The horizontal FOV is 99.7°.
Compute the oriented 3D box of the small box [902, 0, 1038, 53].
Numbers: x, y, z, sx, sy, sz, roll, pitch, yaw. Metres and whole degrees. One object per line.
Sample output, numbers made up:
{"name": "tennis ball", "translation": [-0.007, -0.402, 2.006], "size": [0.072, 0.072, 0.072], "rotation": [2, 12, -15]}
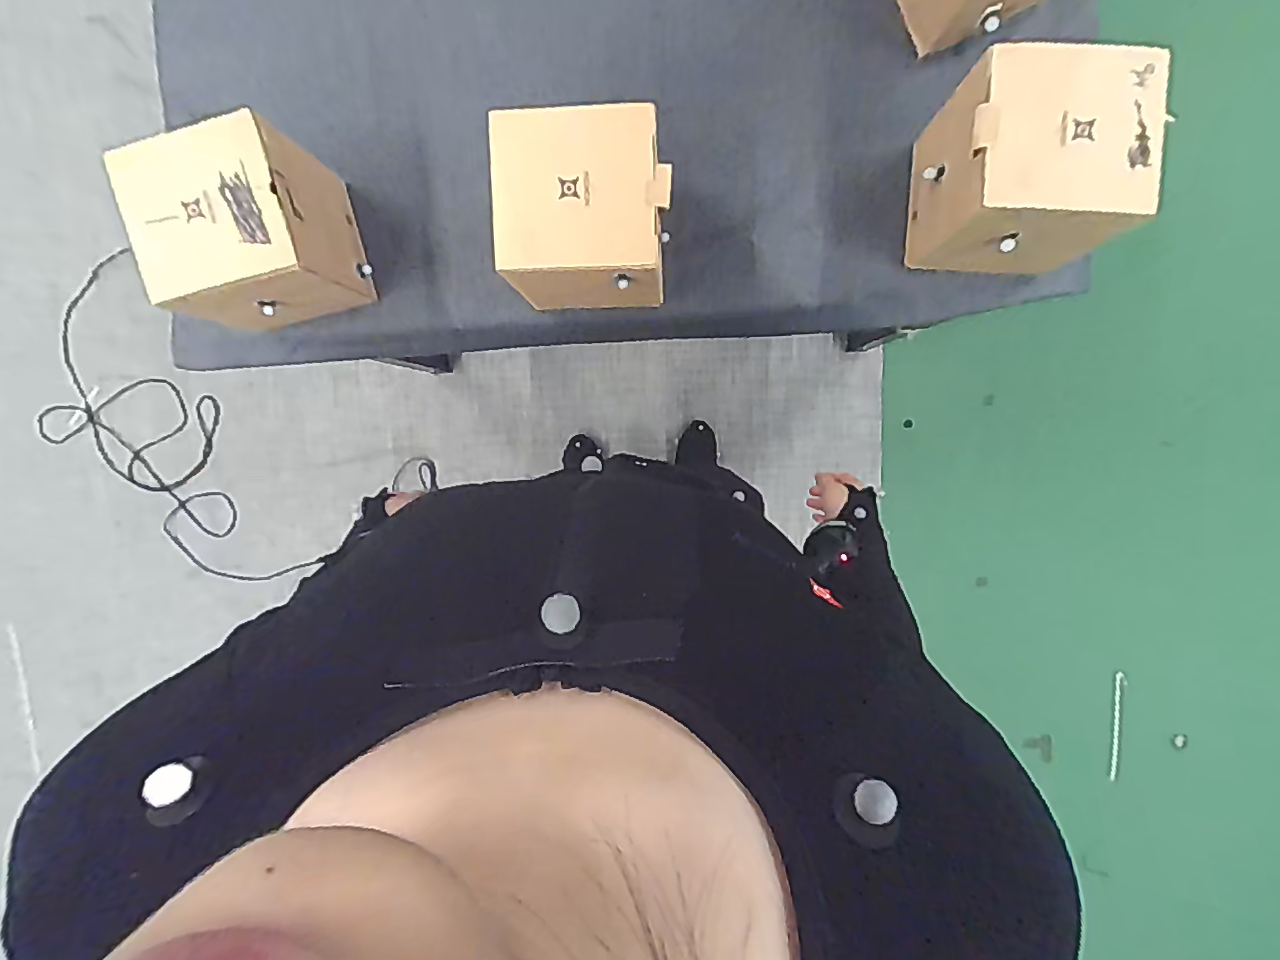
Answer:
{"name": "small box", "translation": [0.392, -0.635, 0.591], "size": [0.168, 0.176, 0.179], "rotation": [-24, 97, 7]}

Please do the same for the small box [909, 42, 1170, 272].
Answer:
{"name": "small box", "translation": [0.431, -0.349, 0.615], "size": [0.179, 0.176, 0.168], "rotation": [4, 92, 2]}

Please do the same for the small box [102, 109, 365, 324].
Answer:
{"name": "small box", "translation": [-0.463, -0.299, 0.653], "size": [0.179, 0.176, 0.168], "rotation": [-13, 96, 4]}

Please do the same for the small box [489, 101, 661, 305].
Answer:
{"name": "small box", "translation": [-0.066, -0.310, 0.641], "size": [0.179, 0.176, 0.168], "rotation": [-1, 95, 2]}
